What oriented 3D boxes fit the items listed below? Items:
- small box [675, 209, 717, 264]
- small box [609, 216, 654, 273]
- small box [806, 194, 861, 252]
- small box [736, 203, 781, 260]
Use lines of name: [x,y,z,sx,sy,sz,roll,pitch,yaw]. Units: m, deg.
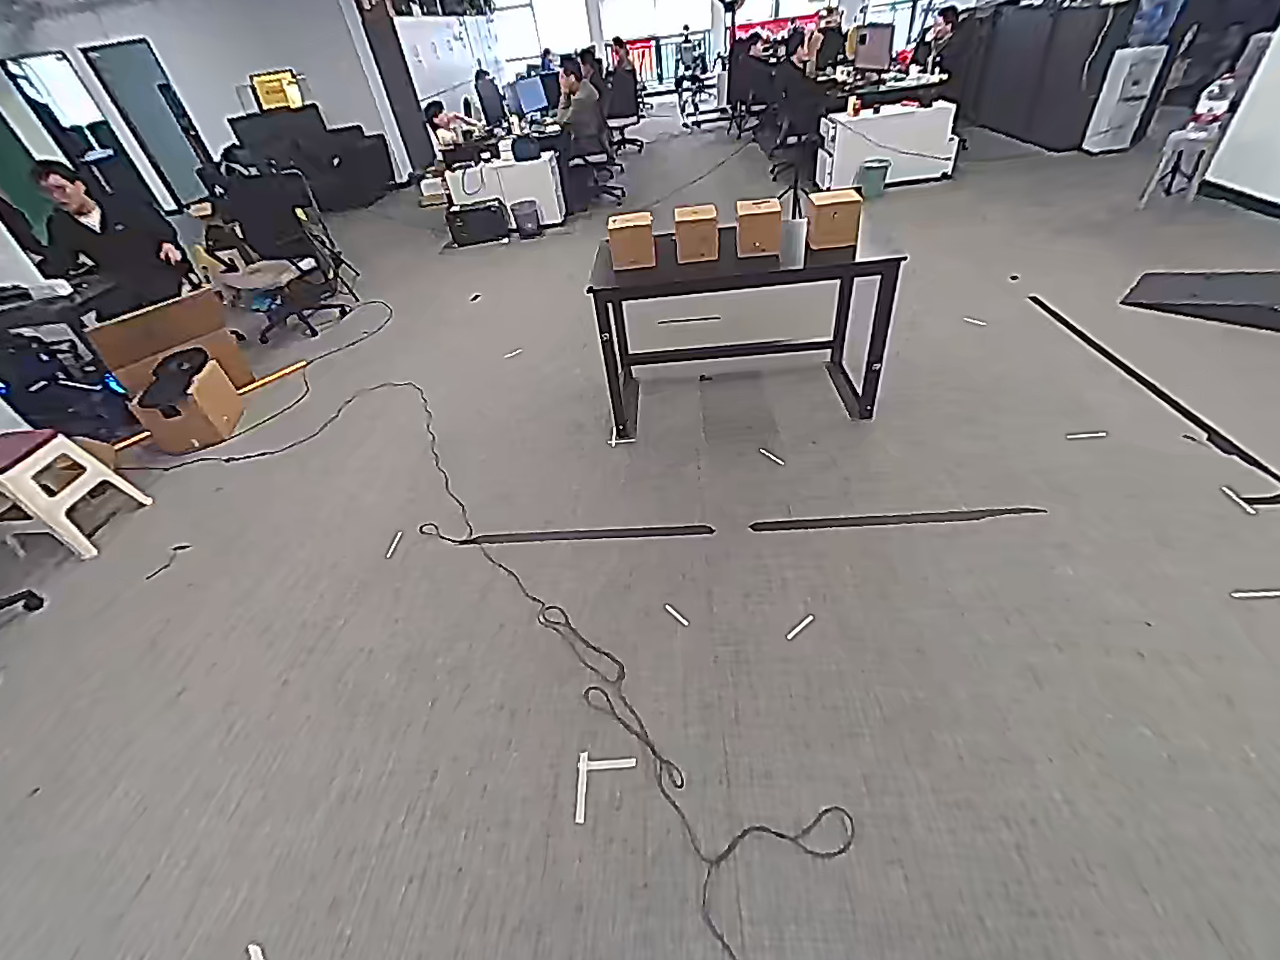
small box: [0.231,-0.999,2.231,0.168,0.176,0.179,-3,39,5]
small box: [-0.030,-0.979,2.249,0.179,0.176,0.168,-4,40,4]
small box: [0.767,-1.024,2.164,0.179,0.176,0.168,-3,41,7]
small box: [0.478,-1.007,2.195,0.168,0.176,0.179,-1,41,9]
